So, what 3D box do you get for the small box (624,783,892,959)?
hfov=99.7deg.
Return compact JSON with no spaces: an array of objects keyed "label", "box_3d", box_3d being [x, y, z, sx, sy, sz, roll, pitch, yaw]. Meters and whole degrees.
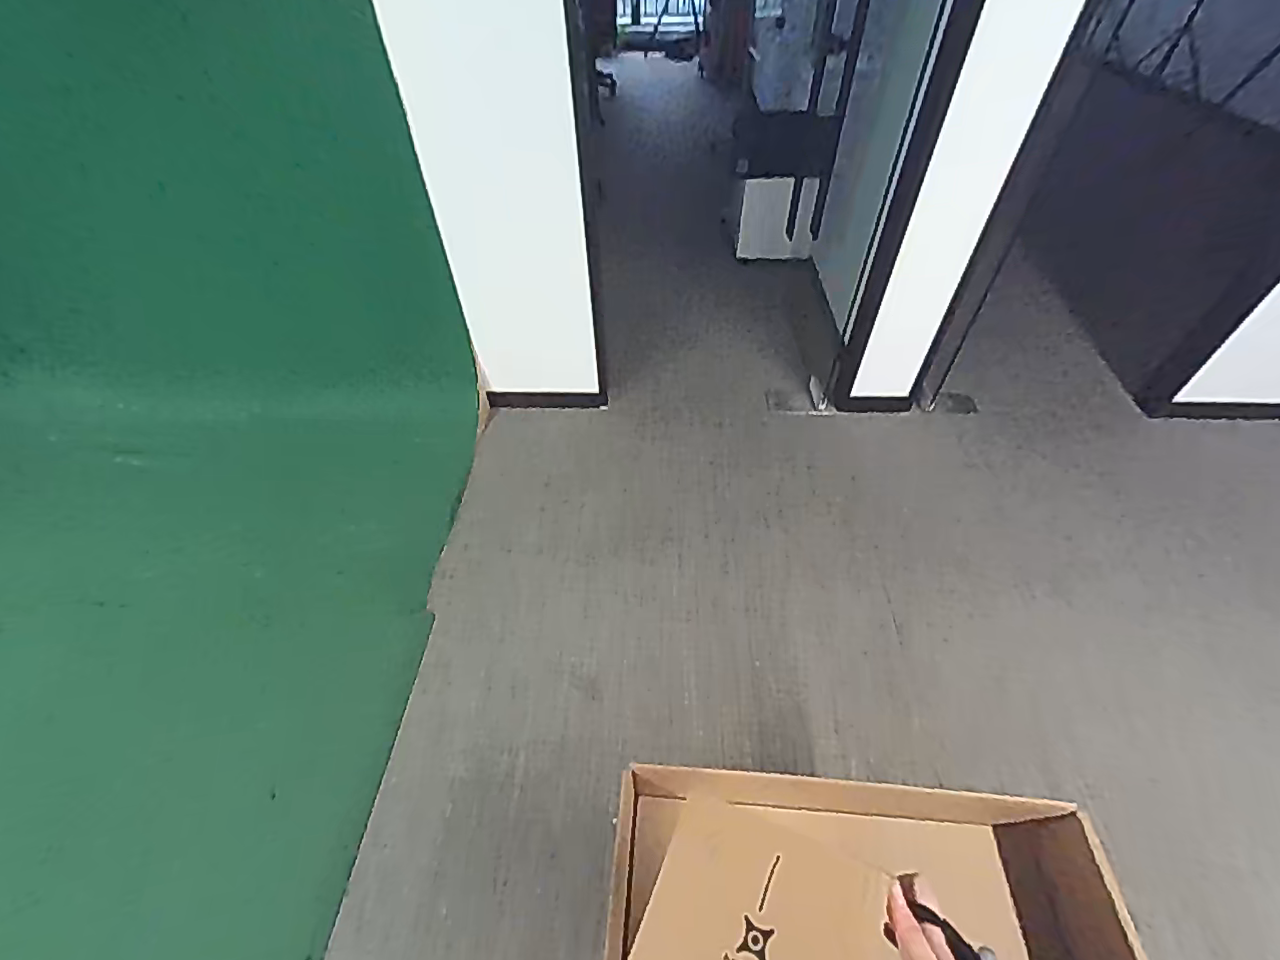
[{"label":"small box","box_3d":[0.099,0.394,0.438,0.168,0.176,0.179,9,47,29]}]
